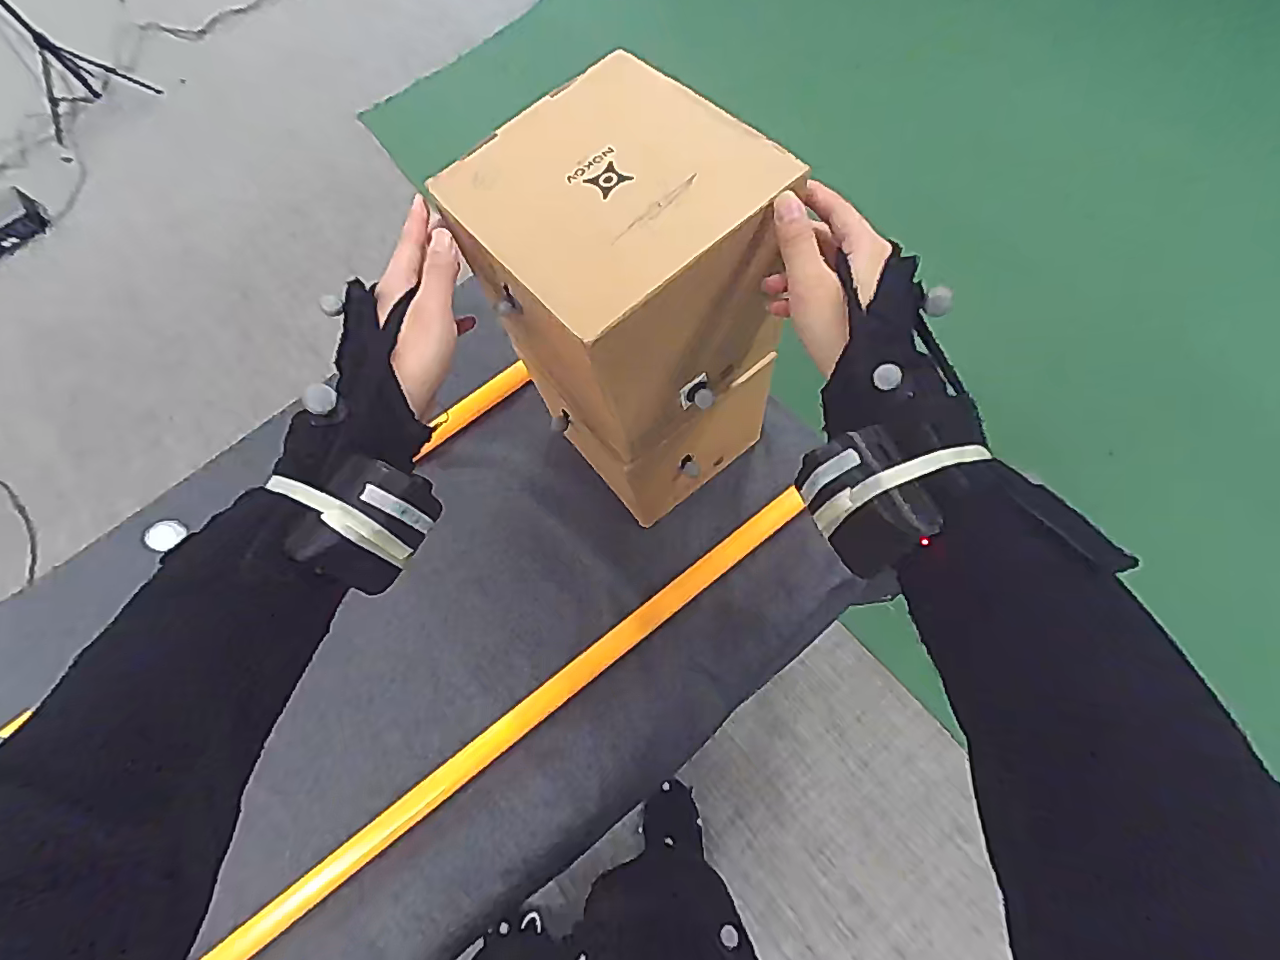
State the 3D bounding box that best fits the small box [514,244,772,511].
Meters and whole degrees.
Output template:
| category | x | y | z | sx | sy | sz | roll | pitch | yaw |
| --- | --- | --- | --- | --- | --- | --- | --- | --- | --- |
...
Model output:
| category | x | y | z | sx | sy | sz | roll | pitch | yaw |
| --- | --- | --- | --- | --- | --- | --- | --- | --- | --- |
| small box | 0.009 | -0.088 | 0.547 | 0.168 | 0.176 | 0.179 | -38 | 68 | -8 |
